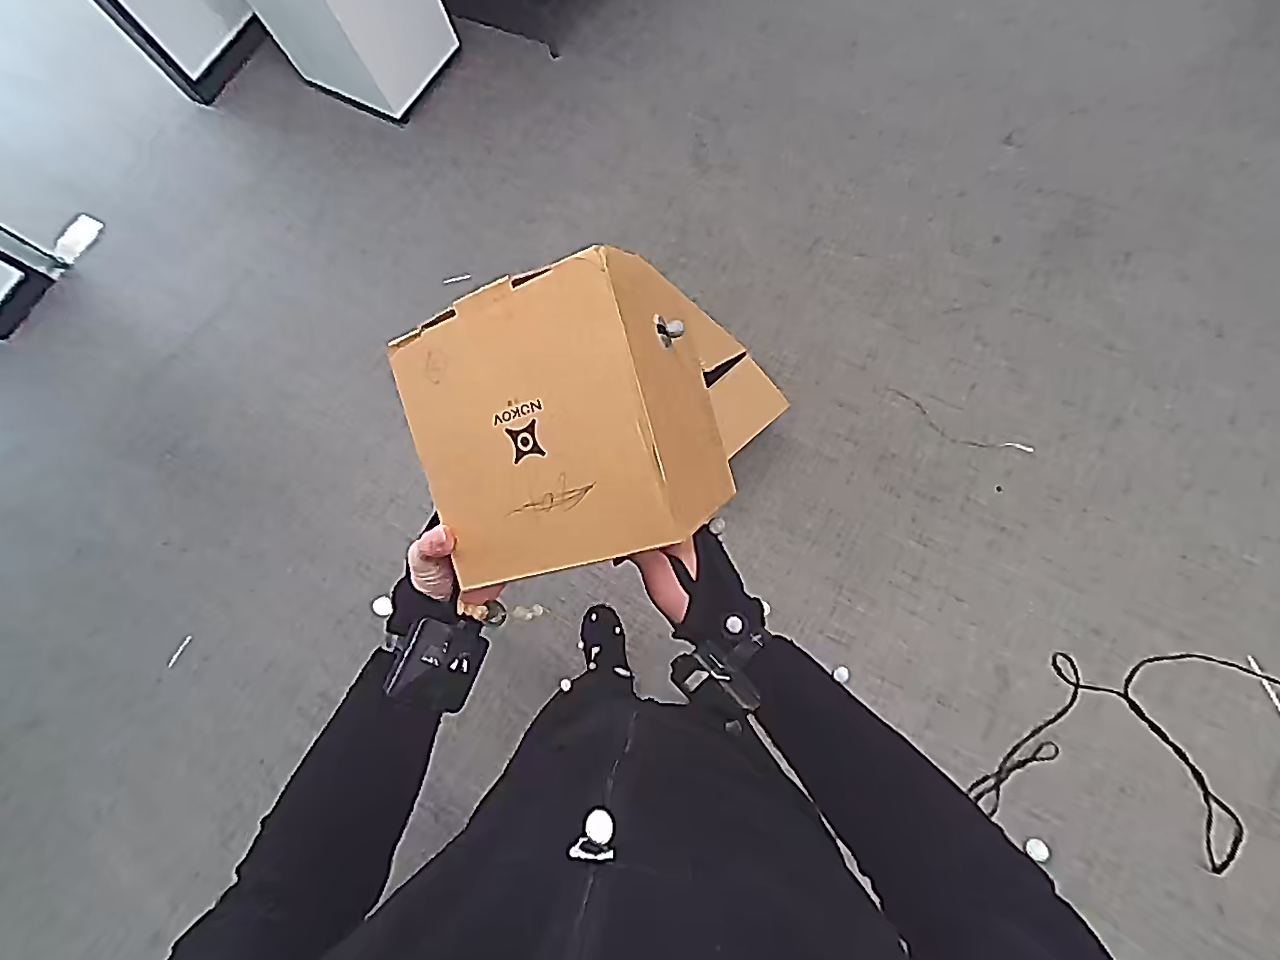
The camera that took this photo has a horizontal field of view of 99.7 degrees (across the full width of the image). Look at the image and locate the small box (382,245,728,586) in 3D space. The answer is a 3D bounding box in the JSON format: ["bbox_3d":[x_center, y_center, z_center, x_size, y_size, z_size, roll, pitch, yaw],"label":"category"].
[{"bbox_3d":[-0.046,-0.038,0.397,0.168,0.176,0.179,-12,93,23],"label":"small box"}]
